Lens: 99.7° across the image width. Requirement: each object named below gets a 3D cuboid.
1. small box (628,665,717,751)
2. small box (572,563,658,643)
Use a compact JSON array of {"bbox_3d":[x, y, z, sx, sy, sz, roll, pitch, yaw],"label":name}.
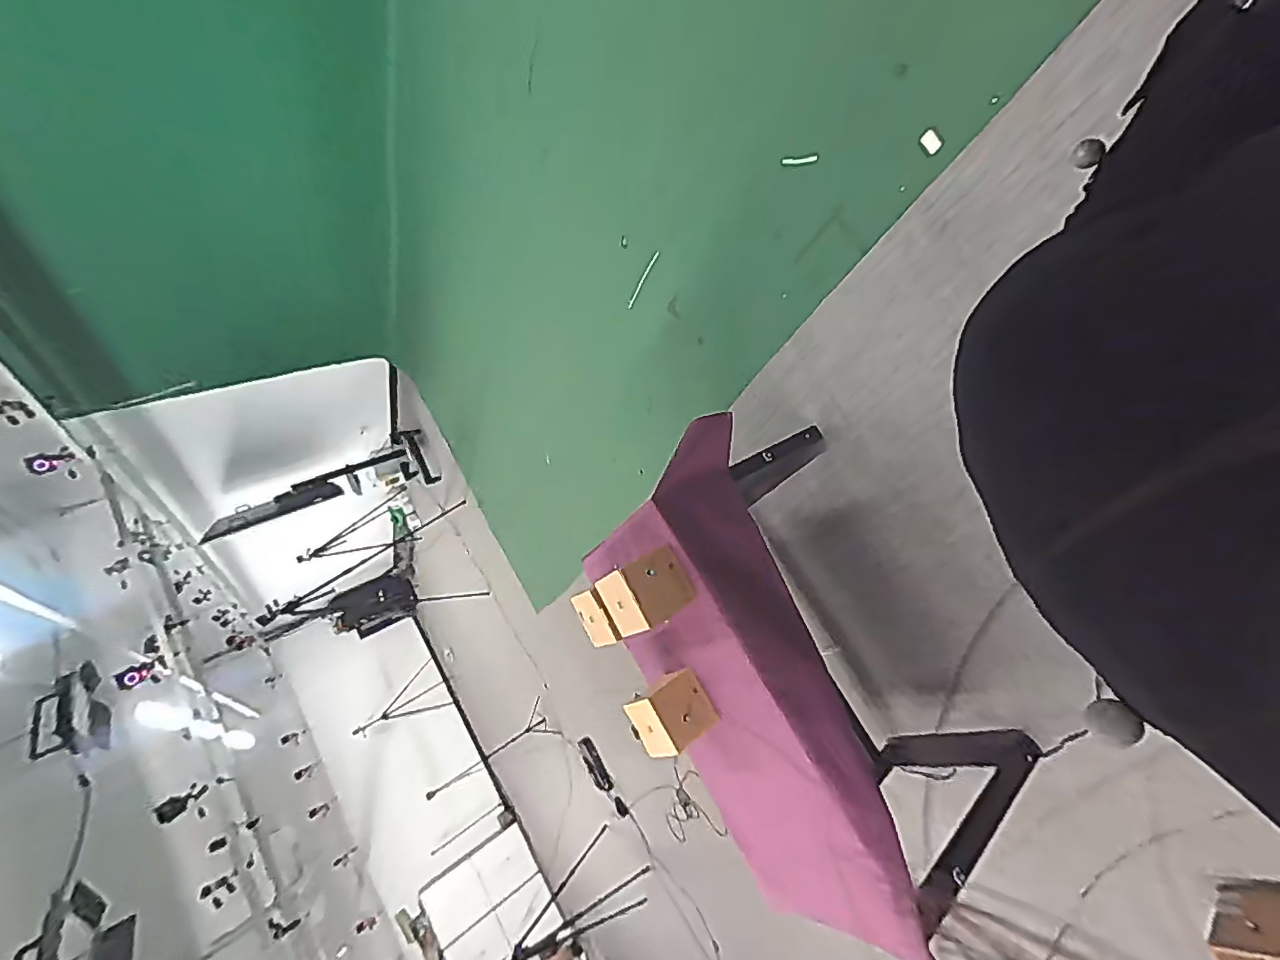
[{"bbox_3d":[0.098,0.657,1.562,0.168,0.176,0.179,58,147,12],"label":"small box"},{"bbox_3d":[-0.069,0.364,1.607,0.168,0.176,0.179,62,146,6],"label":"small box"}]
